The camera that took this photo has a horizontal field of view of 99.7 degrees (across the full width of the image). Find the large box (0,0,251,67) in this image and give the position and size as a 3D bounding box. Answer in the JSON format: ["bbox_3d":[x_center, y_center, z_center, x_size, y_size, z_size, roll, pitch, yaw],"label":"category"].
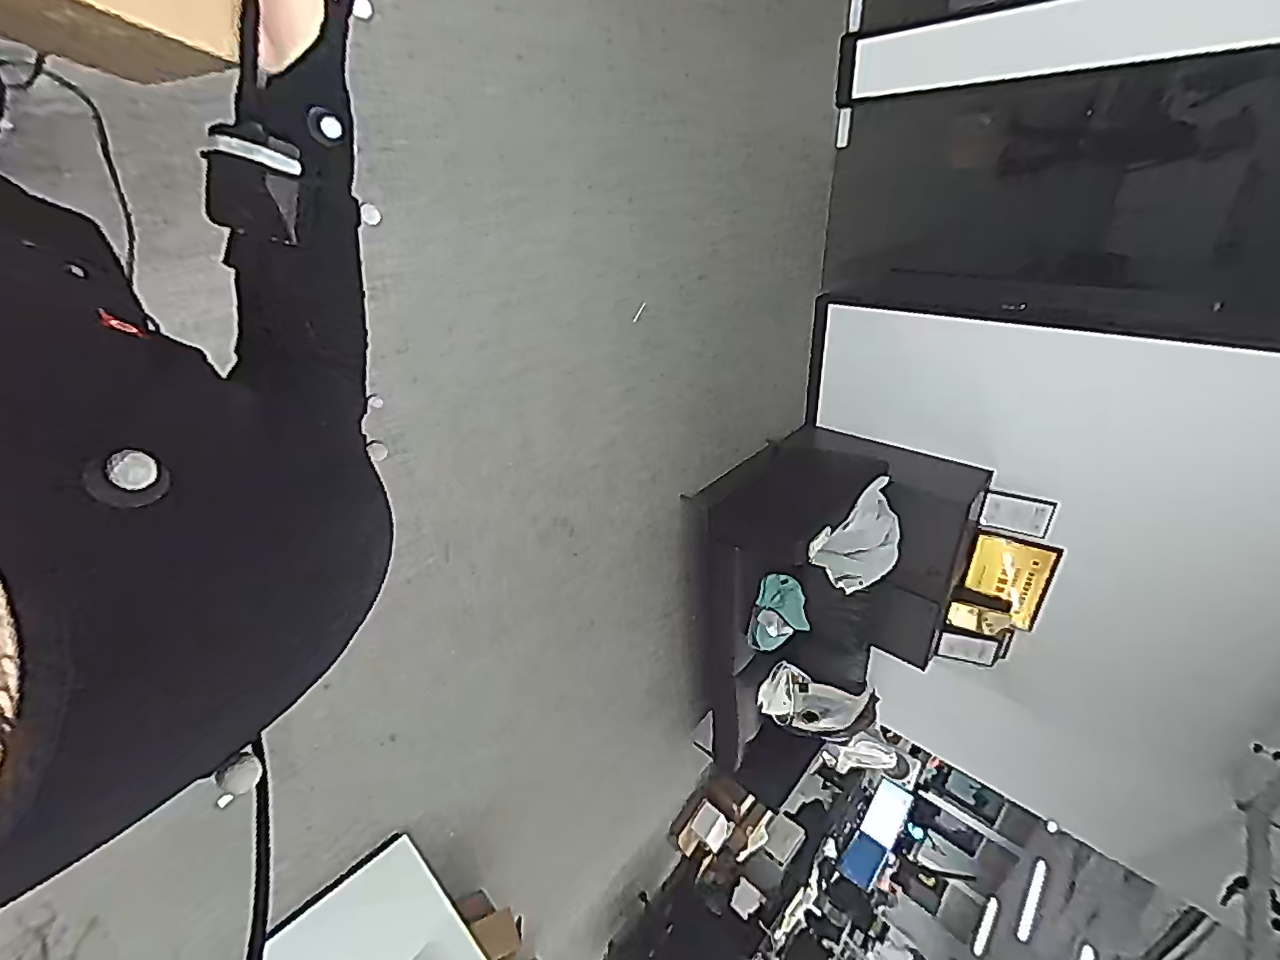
[{"bbox_3d":[-0.462,-0.456,0.240,0.408,0.320,0.320,-10,121,-51],"label":"large box"}]
